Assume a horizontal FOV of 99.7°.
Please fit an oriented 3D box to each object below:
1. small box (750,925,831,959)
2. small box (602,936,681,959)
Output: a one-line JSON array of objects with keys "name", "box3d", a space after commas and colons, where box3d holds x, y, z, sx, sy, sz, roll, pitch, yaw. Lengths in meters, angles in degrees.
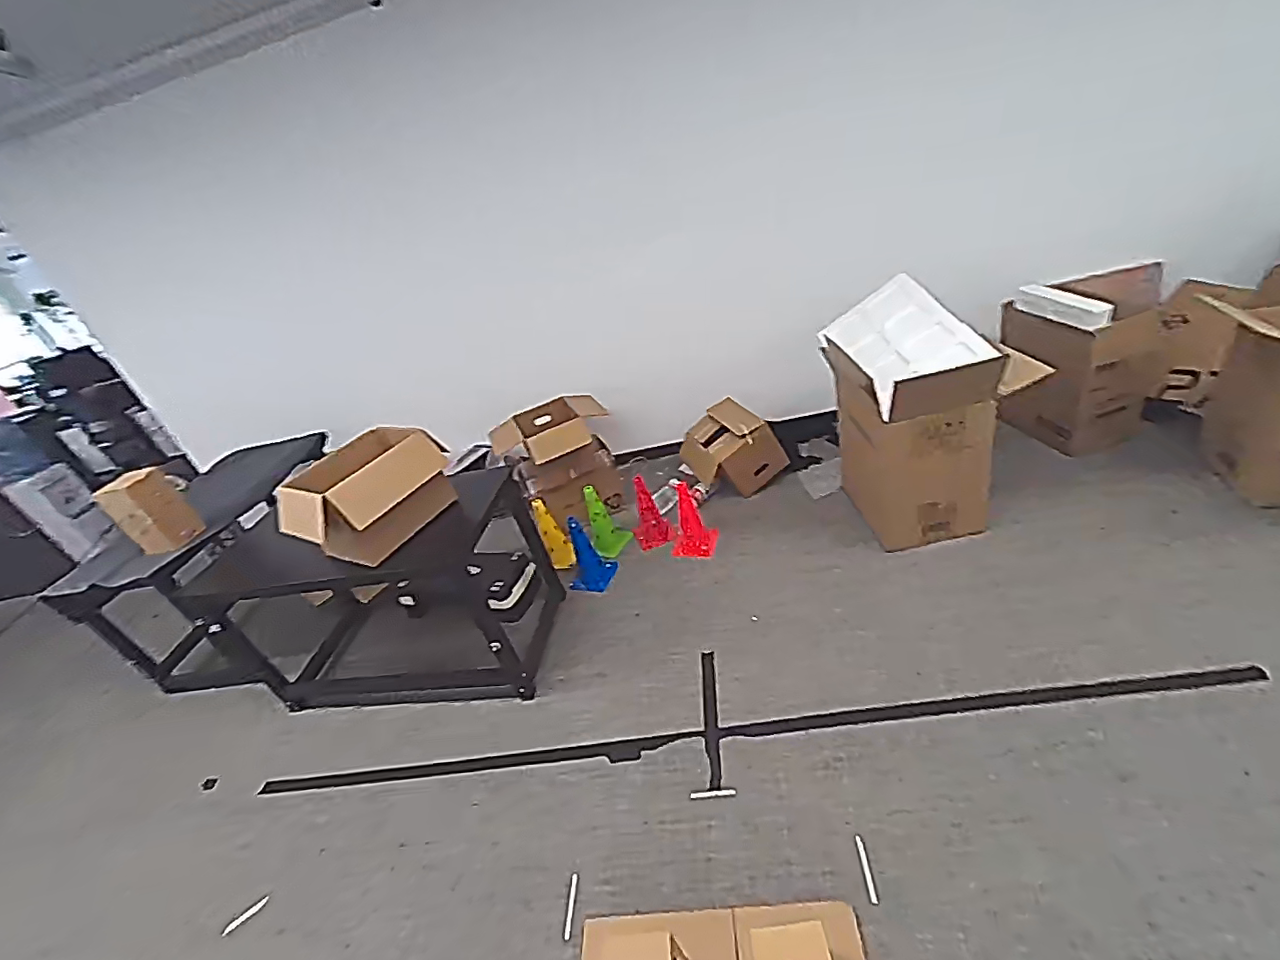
[{"name": "small box", "box3d": [0.344, 1.112, 1.168, 0.168, 0.176, 0.179, -14, 31, 6]}, {"name": "small box", "box3d": [0.010, 1.174, 1.220, 0.168, 0.176, 0.179, -13, 31, 9]}]
